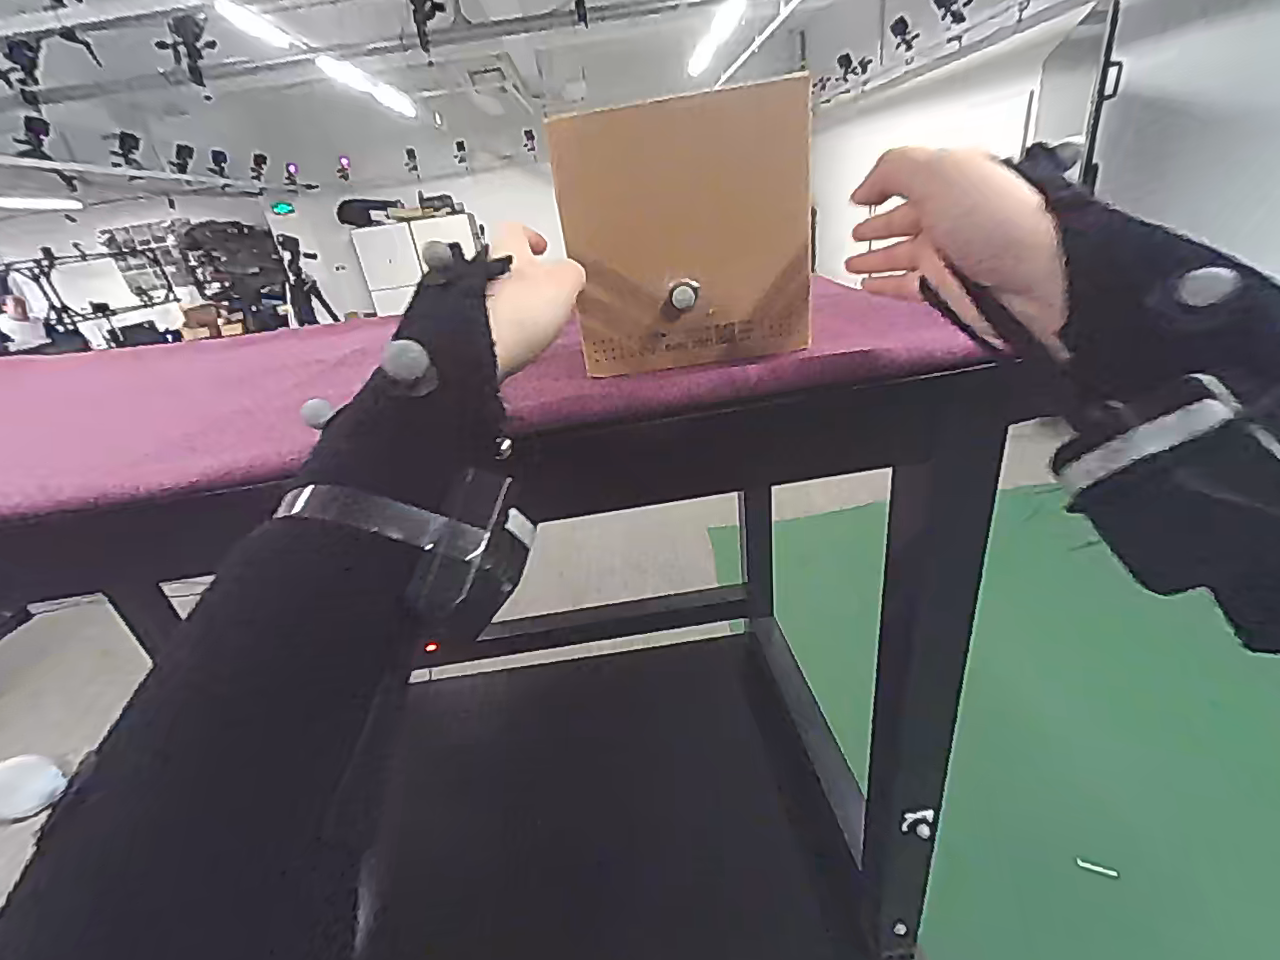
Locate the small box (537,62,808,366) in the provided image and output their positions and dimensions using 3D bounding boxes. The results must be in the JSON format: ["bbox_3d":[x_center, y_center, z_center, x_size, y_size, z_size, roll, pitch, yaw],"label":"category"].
[{"bbox_3d":[0.030,-0.199,0.432,0.168,0.176,0.179,-7,27,5],"label":"small box"}]
